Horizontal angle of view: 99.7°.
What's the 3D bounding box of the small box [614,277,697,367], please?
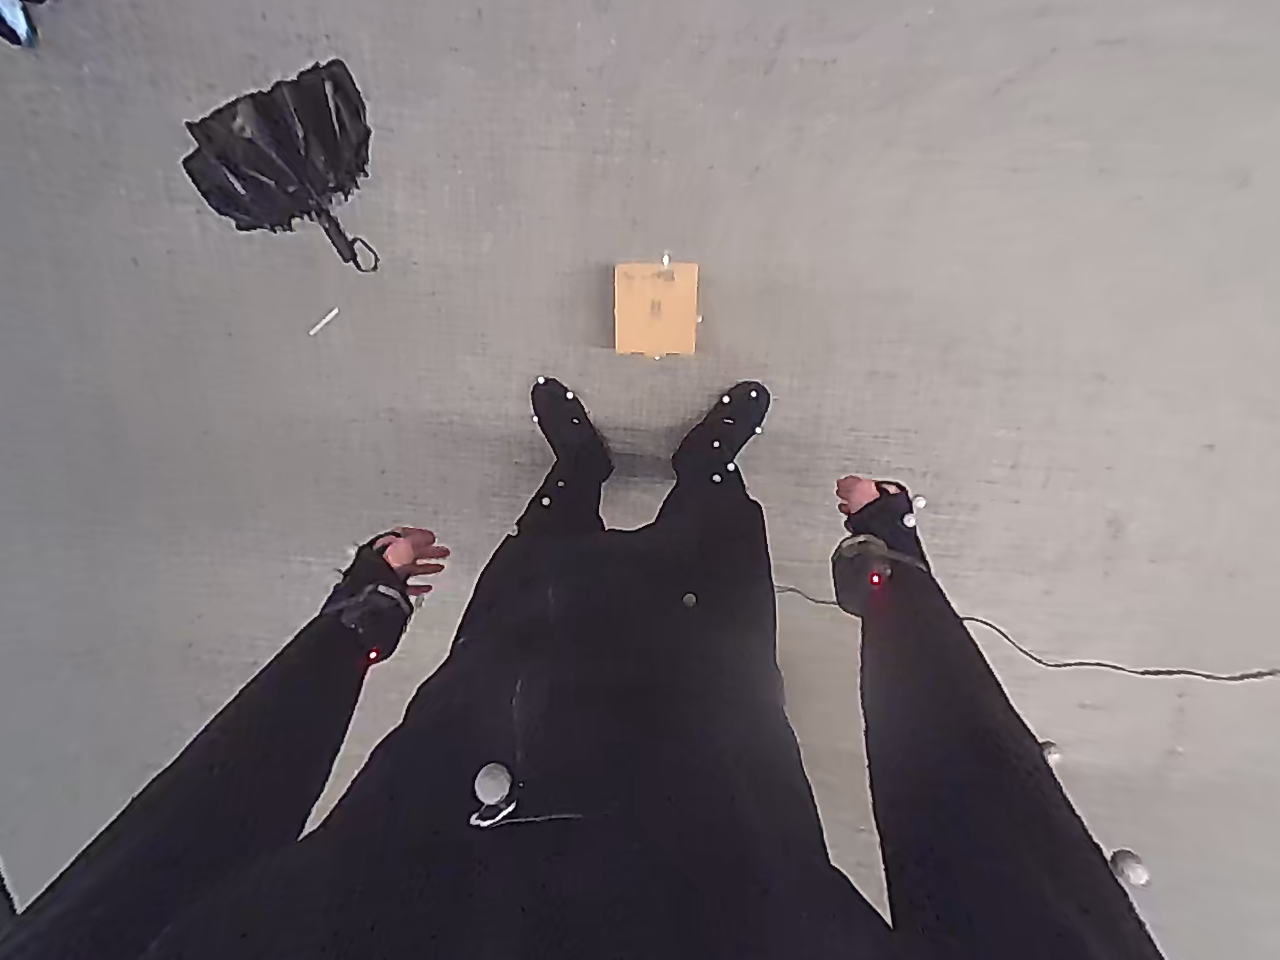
[{"bbox_3d":[0.035,-0.343,1.169,0.168,0.176,0.179,2,107,3],"label":"small box"}]
